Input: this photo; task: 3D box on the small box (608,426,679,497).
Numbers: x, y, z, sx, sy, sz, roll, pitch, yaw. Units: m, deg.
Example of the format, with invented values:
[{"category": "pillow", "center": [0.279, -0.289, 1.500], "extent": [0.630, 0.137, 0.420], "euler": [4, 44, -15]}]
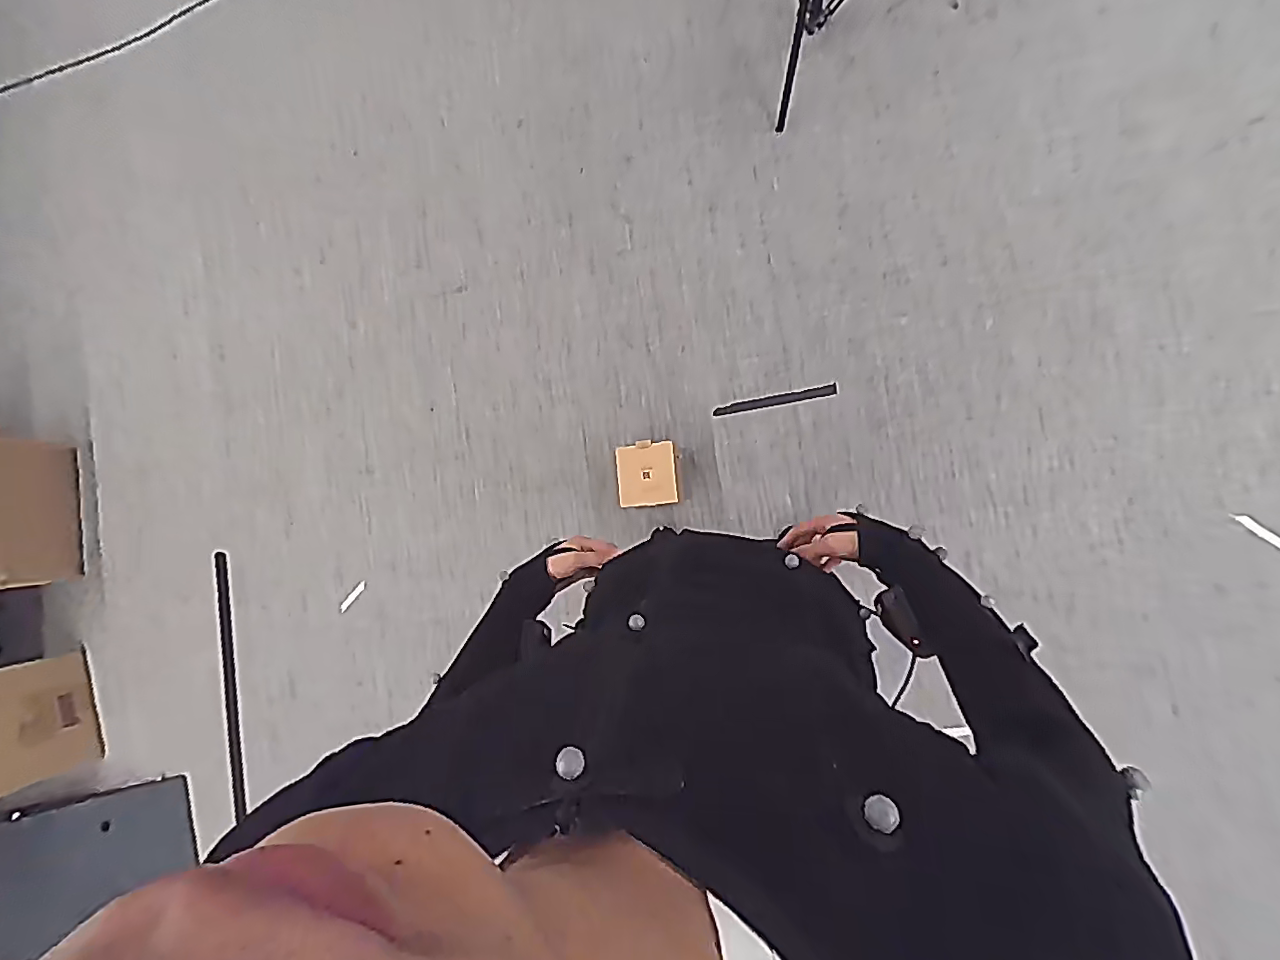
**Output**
[{"category": "small box", "center": [0.014, -0.047, 1.519], "extent": [0.168, 0.176, 0.179], "euler": [-6, 87, 11]}]
